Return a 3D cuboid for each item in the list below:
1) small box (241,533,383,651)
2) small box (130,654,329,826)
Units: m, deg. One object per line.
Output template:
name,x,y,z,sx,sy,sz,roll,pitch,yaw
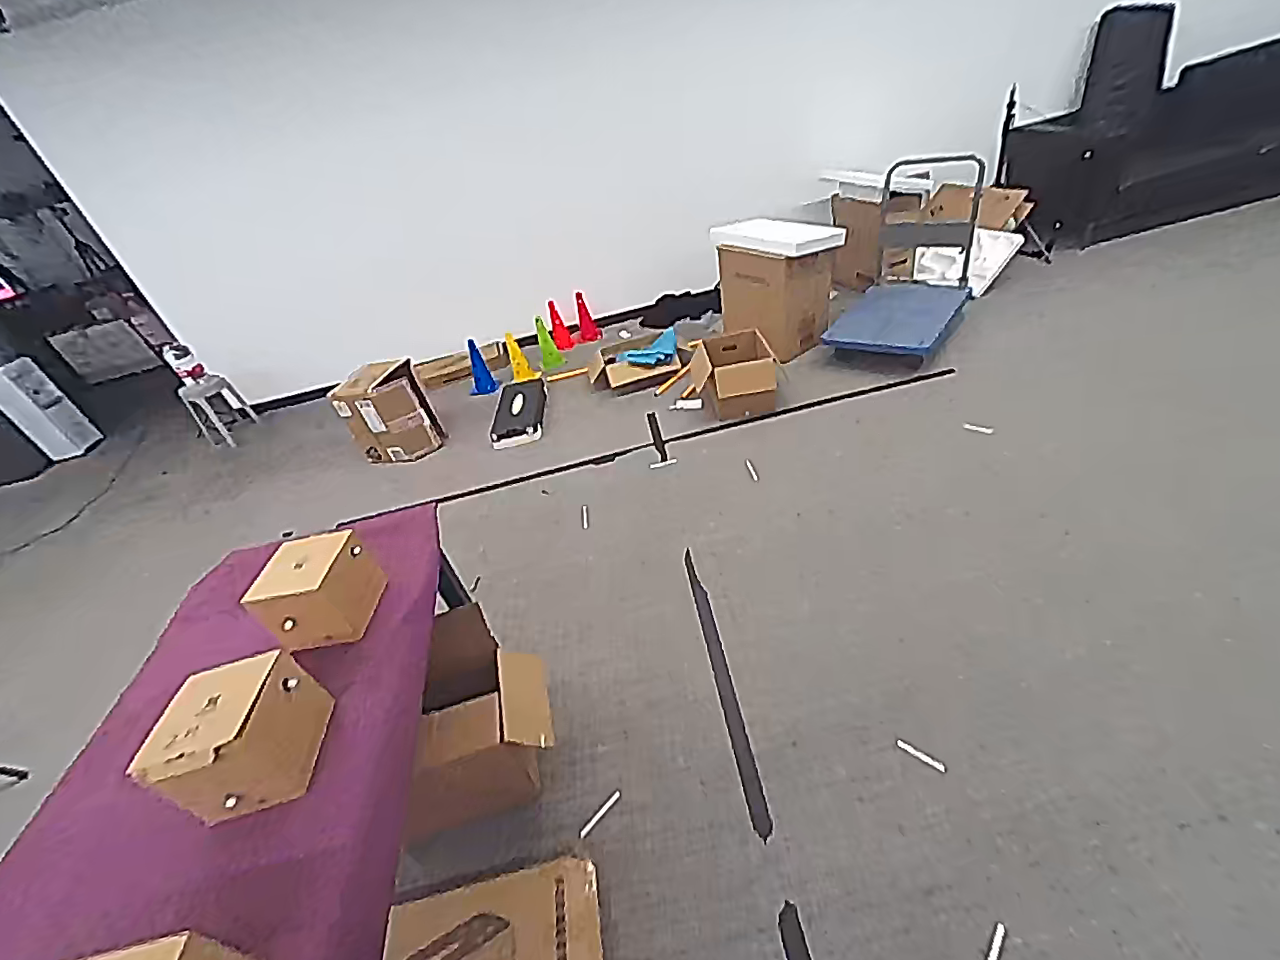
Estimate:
small box,-0.680,0.244,1.151,0.168,0.176,0.179,-11,35,5
small box,-0.652,0.426,0.891,0.168,0.176,0.179,-17,35,0
